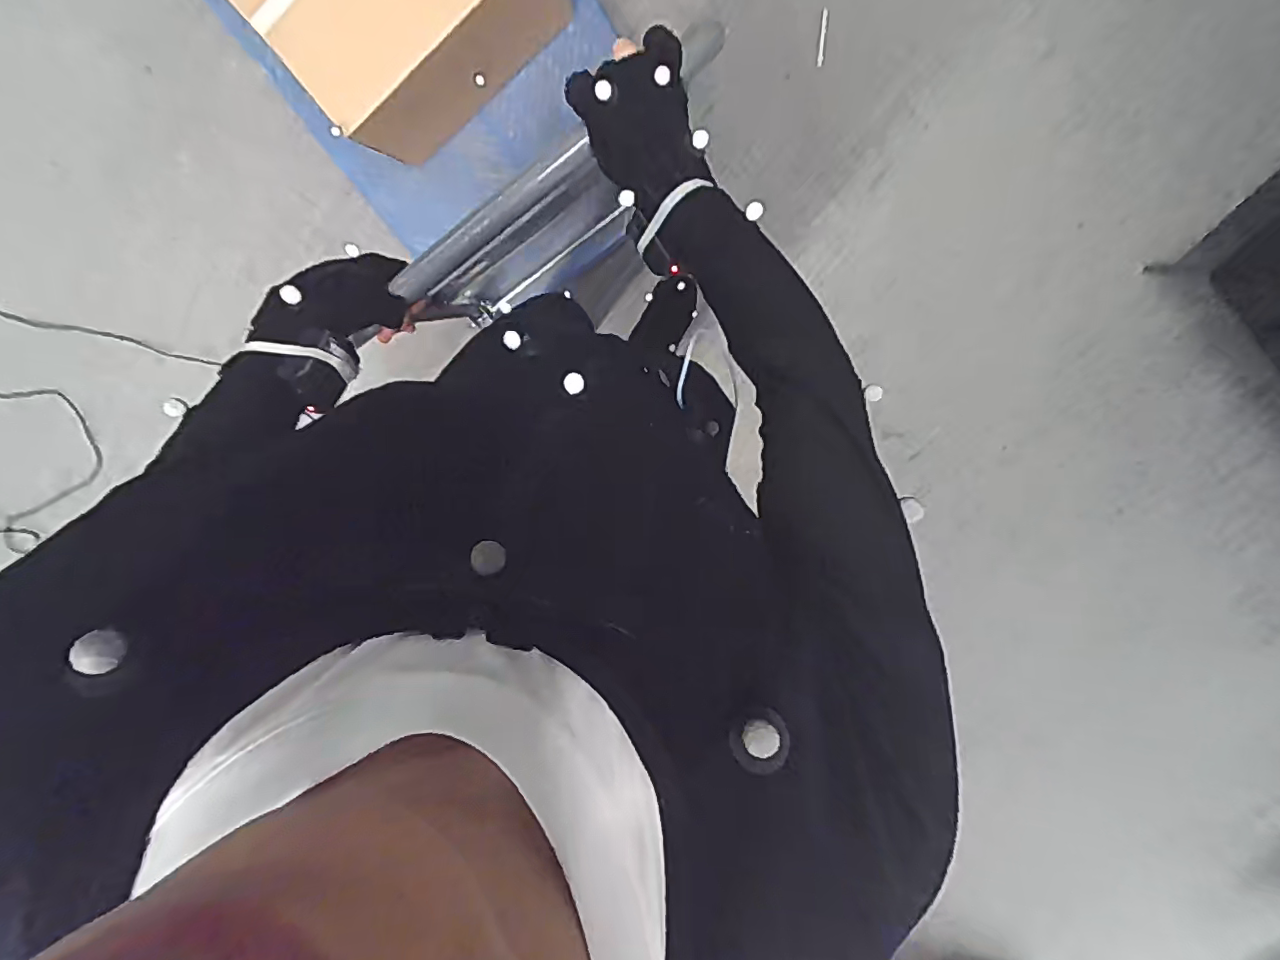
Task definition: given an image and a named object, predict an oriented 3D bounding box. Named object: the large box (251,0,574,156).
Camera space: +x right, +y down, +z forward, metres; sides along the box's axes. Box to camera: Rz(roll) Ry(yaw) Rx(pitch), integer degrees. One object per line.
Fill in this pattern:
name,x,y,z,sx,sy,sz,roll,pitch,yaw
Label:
large box,-0.356,-0.801,0.847,0.408,0.320,0.320,-35,110,13
